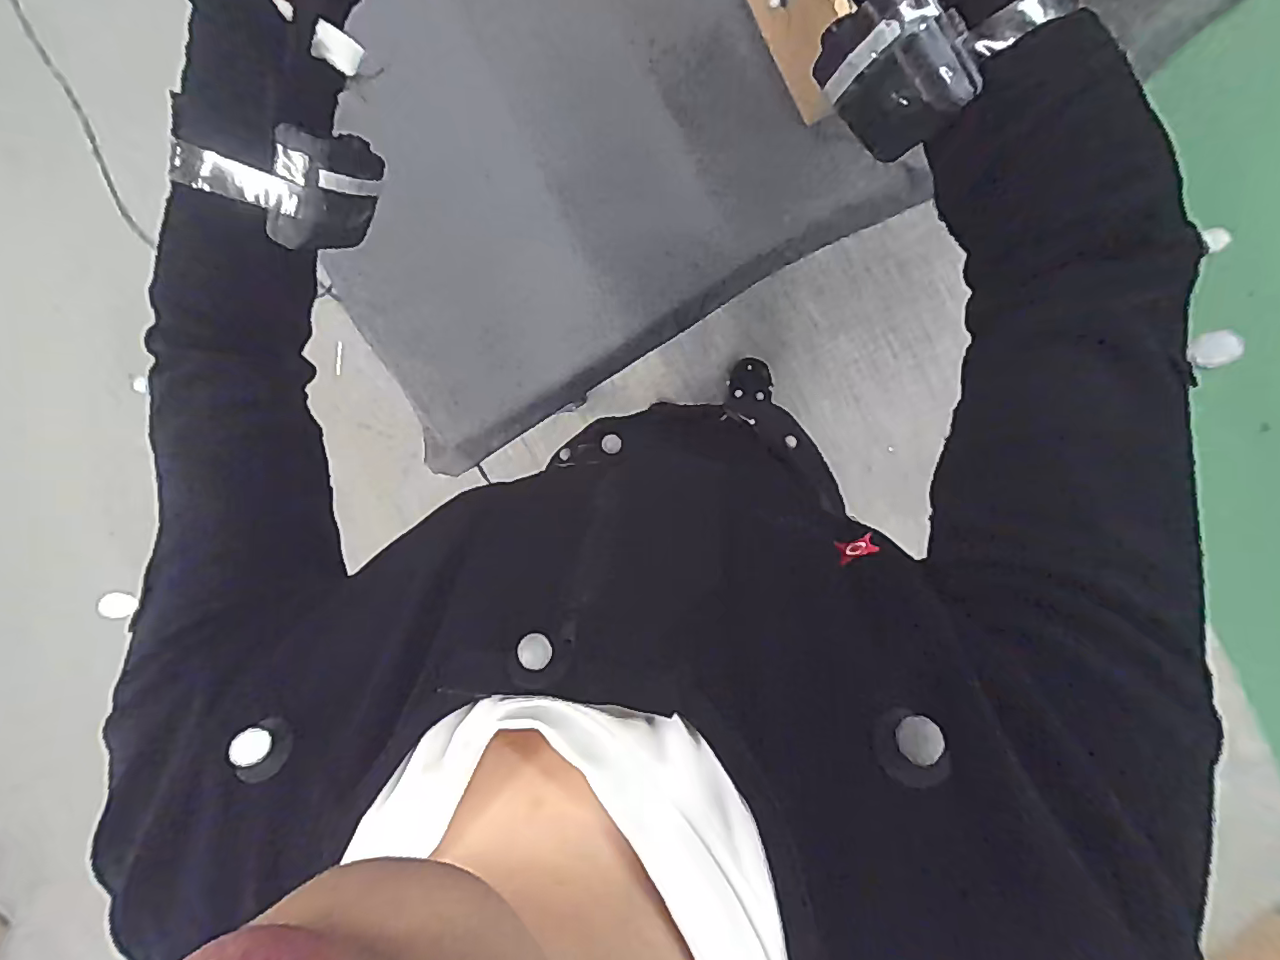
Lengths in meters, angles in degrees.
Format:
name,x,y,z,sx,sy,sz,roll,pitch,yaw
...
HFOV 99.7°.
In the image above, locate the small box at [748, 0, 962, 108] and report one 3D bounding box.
name,x,y,z,sx,sy,sz,roll,pitch,yaw
small box,0.217,-0.517,0.537,0.168,0.176,0.179,-27,95,9
